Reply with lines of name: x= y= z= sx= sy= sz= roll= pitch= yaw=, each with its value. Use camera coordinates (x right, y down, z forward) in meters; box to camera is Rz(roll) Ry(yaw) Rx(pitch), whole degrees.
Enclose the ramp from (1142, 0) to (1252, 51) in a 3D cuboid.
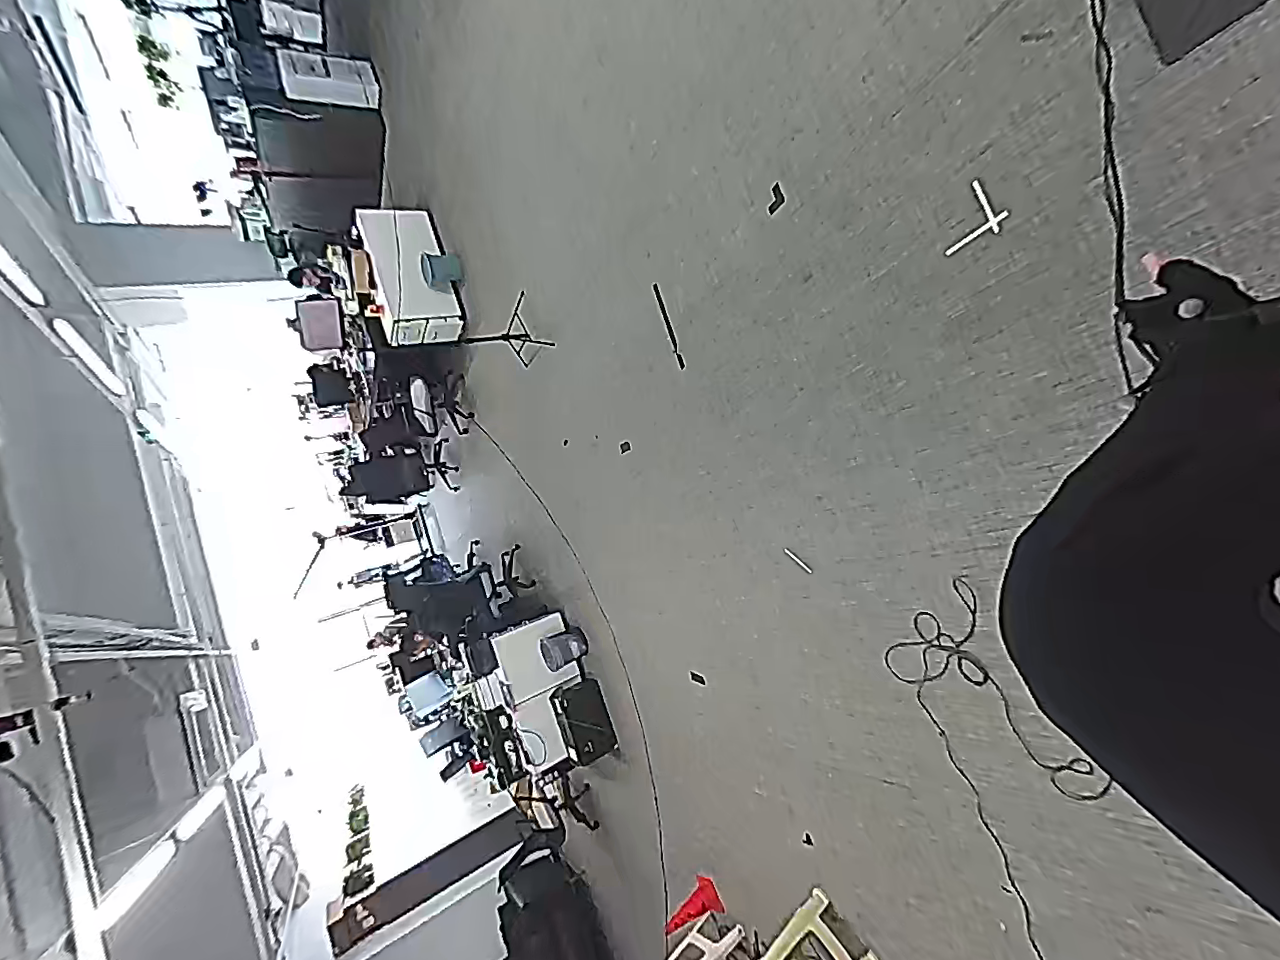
ramp: x=0.853 y=-1.269 z=0.765 sx=0.509 sy=0.206 sz=0.991 roll=-28 pitch=81 yaw=57
